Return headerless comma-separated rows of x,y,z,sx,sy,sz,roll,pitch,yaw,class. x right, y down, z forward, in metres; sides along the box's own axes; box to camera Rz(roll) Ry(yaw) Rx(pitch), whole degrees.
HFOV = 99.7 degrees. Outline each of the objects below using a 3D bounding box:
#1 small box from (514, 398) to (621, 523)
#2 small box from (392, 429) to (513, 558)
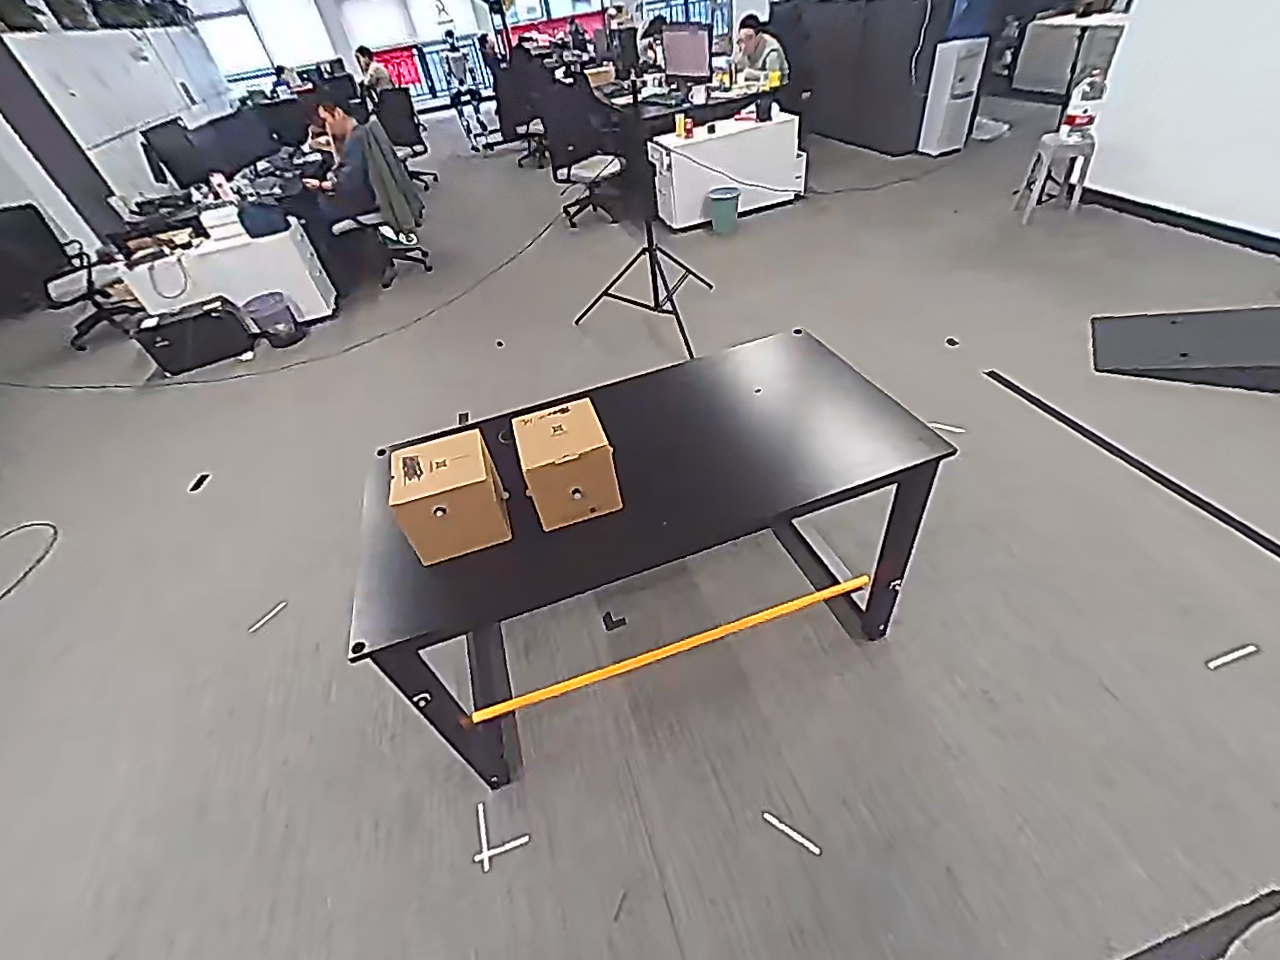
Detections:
-0.145,-0.033,1.100,0.168,0.176,0.179,-17,44,-7,small box
-0.367,0.030,1.072,0.179,0.176,0.168,-17,43,-8,small box
